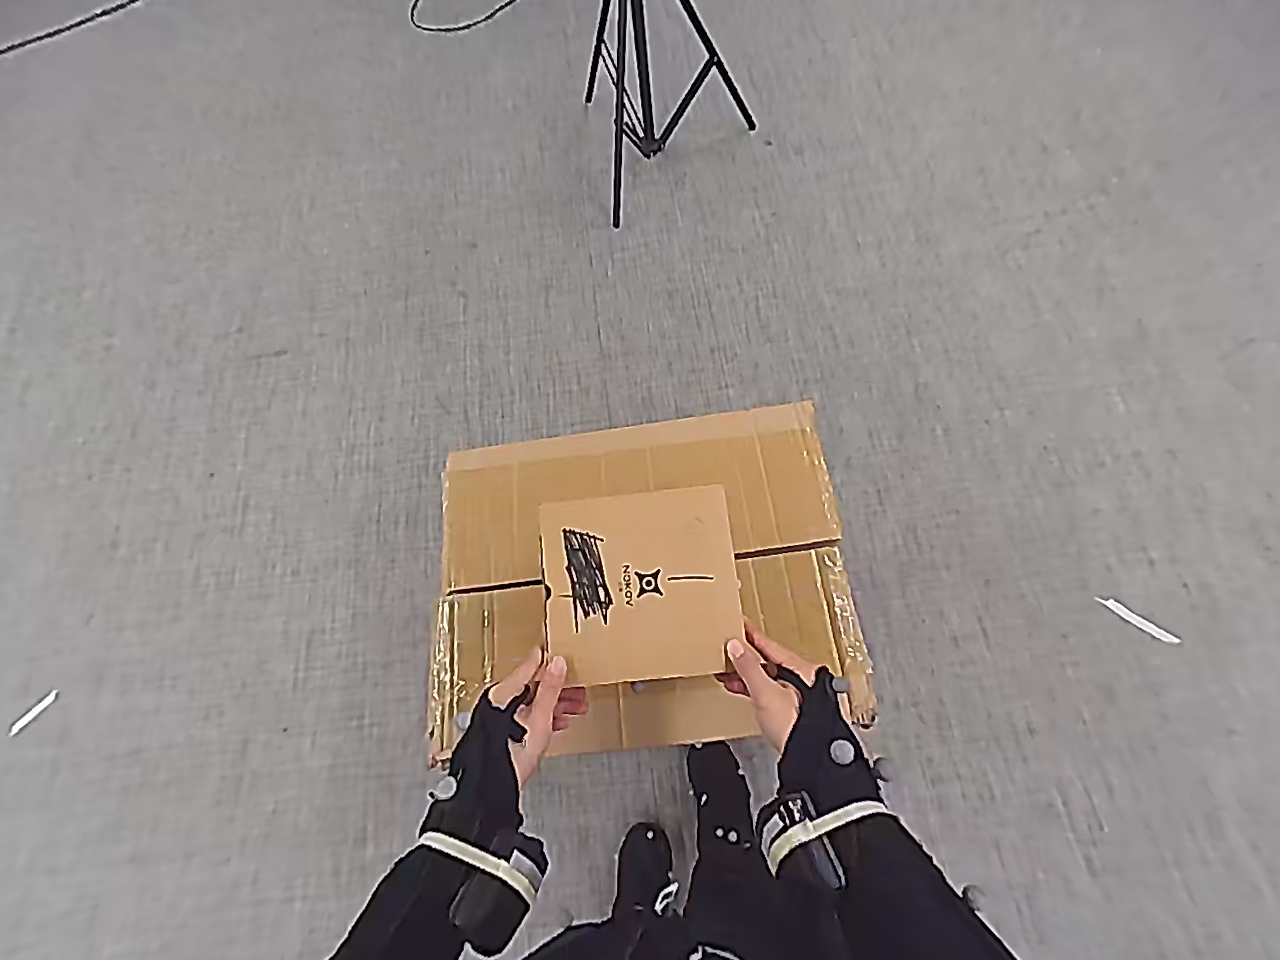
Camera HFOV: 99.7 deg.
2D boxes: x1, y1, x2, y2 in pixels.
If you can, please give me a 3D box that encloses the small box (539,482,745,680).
[{"bbox_3d":[0.002,0.107,0.558,0.179,0.176,0.168,-6,76,1],"label":"small box"}]
